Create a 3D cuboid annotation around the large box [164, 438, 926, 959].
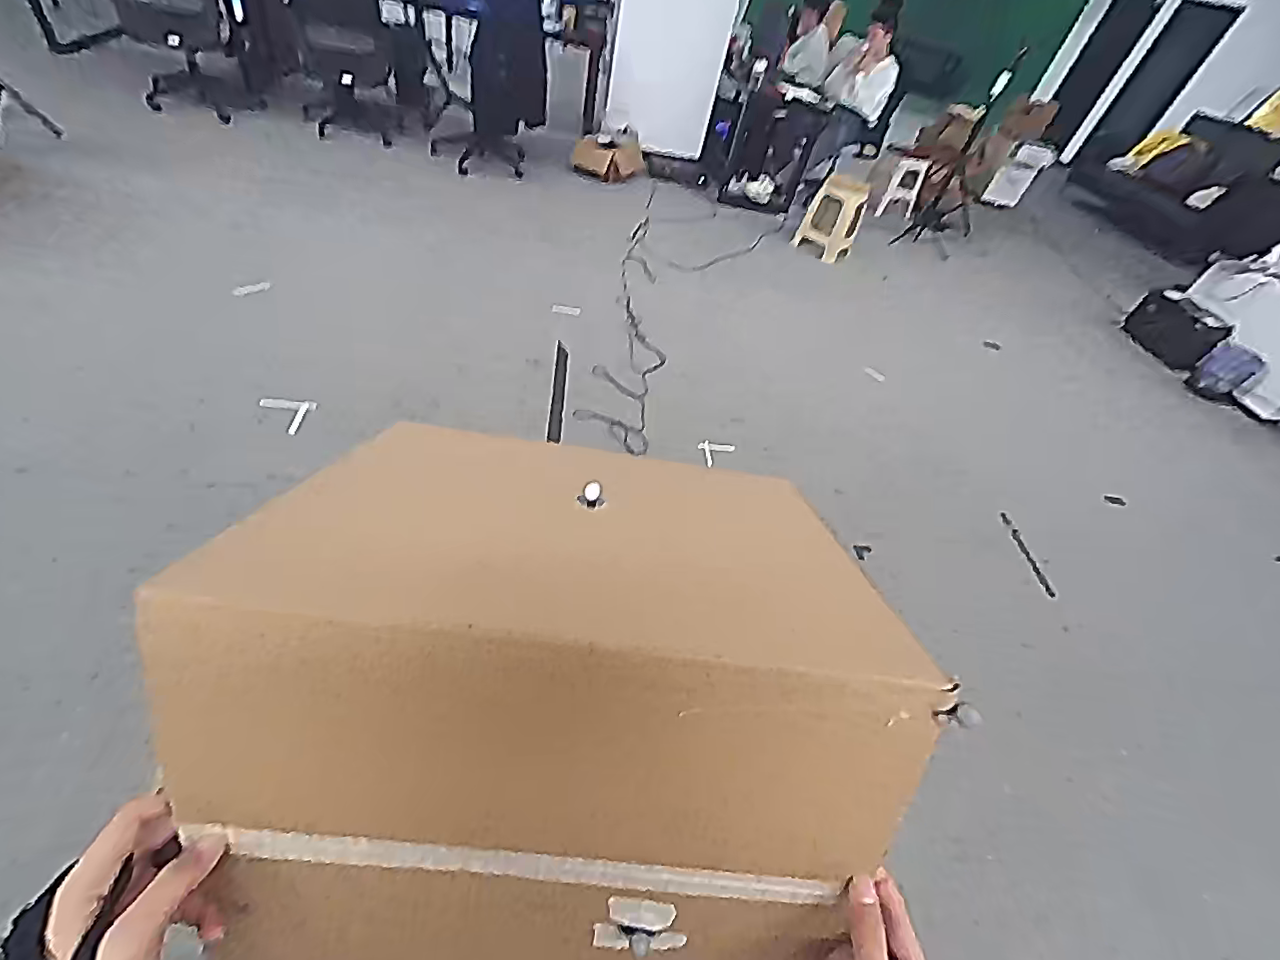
[{"bbox_3d":[-0.065,0.169,0.469,0.408,0.320,0.320,7,22,-5],"label":"large box"}]
